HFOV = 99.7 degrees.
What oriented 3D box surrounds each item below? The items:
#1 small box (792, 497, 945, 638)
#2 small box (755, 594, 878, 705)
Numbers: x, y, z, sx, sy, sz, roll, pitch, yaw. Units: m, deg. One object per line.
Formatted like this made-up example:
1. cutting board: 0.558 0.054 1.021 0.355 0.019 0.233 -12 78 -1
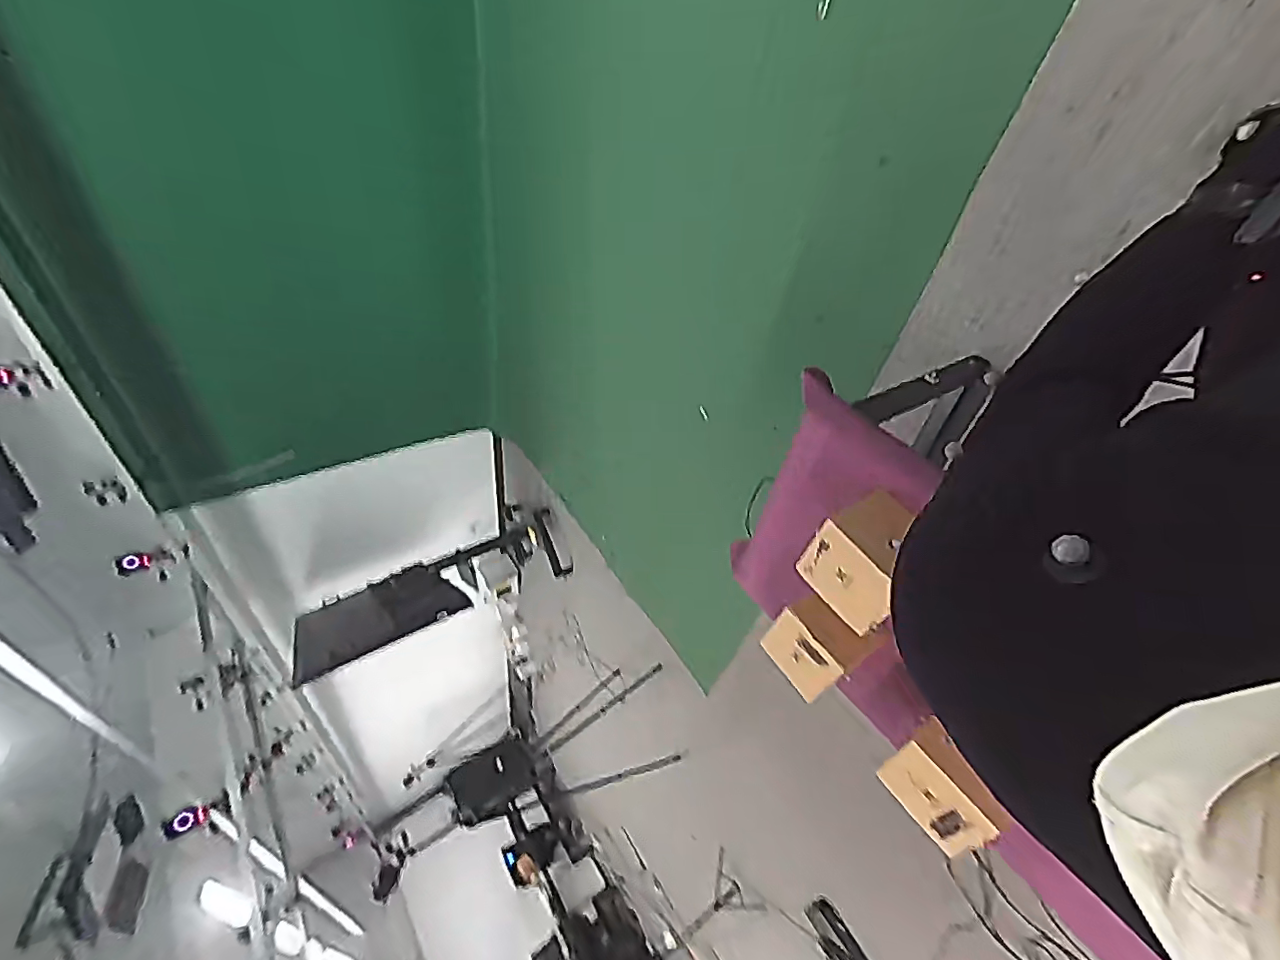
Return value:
1. small box: 0.433 0.160 1.030 0.179 0.176 0.168 49 145 29
2. small box: 0.397 0.362 1.208 0.168 0.176 0.179 51 145 28
